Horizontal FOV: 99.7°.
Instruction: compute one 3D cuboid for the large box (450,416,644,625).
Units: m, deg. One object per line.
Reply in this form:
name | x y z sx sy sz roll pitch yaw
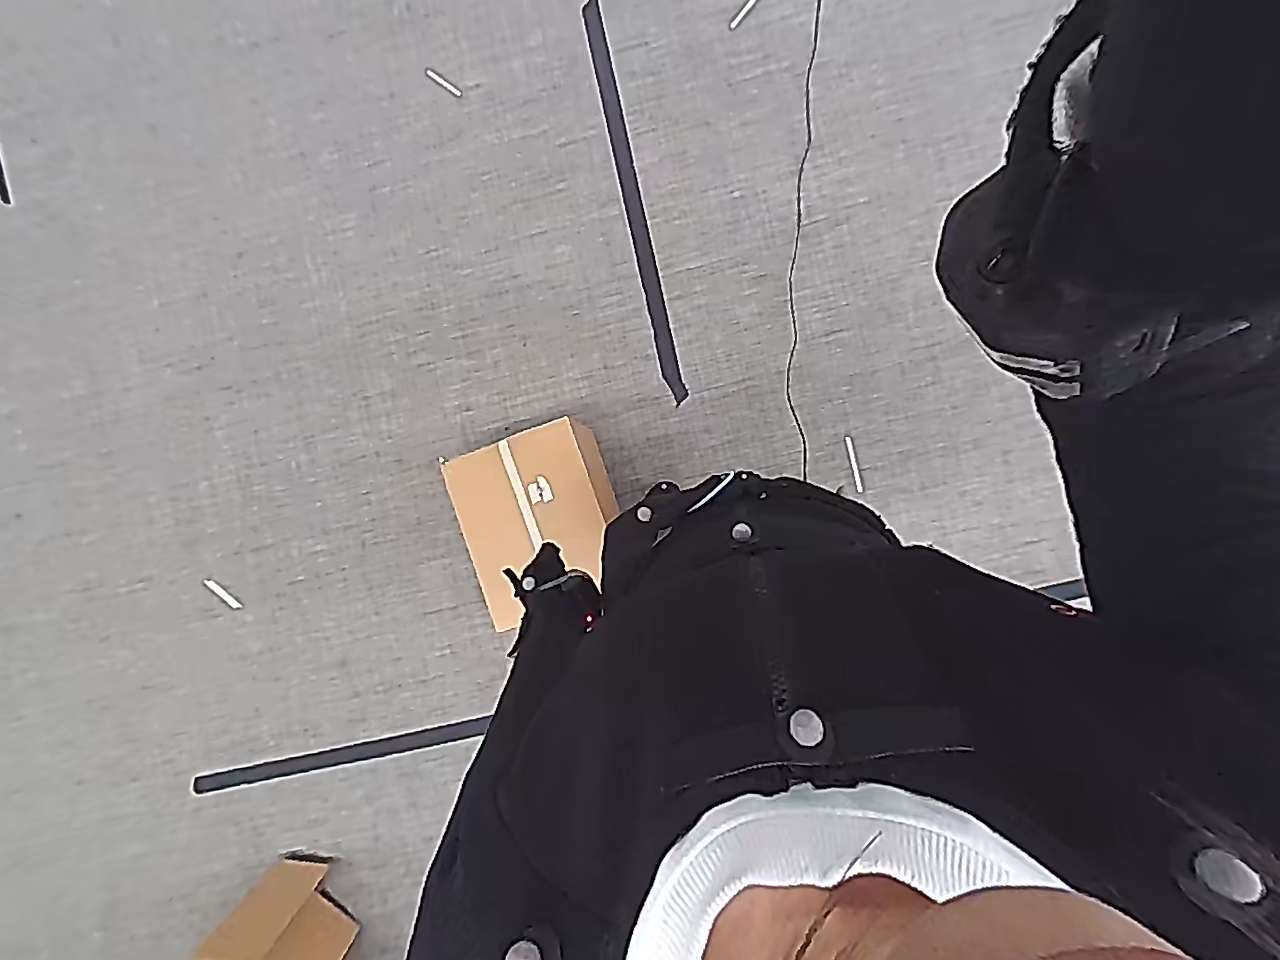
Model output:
large box | -0.211 0.097 1.356 0.320 0.320 0.408 -20 86 4
